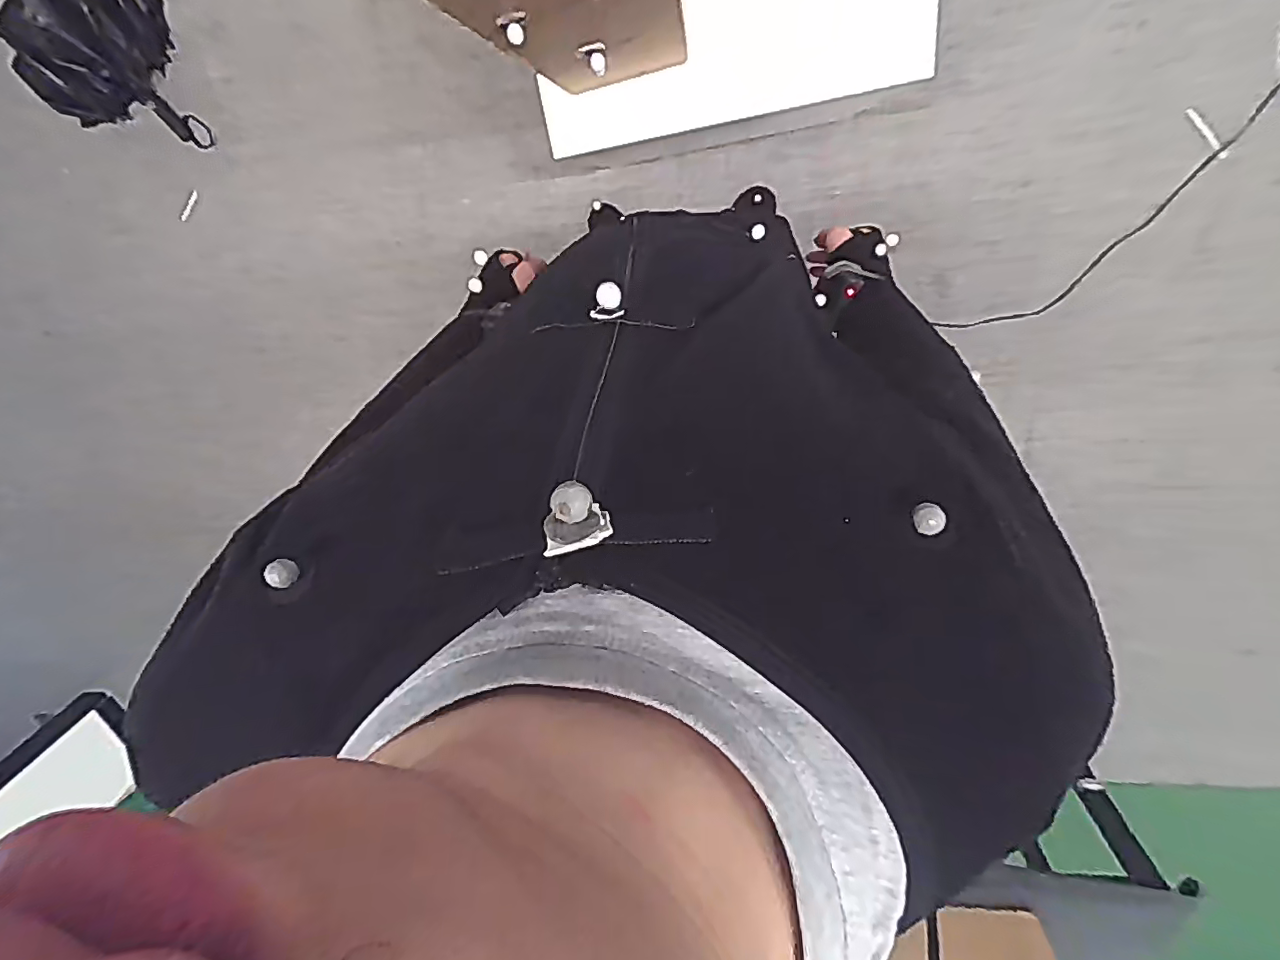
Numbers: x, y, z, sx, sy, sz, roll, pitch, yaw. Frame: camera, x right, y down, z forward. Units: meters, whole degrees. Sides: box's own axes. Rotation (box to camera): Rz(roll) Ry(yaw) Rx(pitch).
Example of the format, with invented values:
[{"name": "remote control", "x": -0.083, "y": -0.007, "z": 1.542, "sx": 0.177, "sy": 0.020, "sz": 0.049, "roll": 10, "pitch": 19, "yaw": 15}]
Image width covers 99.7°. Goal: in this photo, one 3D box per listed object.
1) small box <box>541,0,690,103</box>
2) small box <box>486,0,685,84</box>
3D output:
[{"name": "small box", "x": -0.037, "y": -0.564, "z": 0.619, "sx": 0.168, "sy": 0.176, "sz": 0.179, "roll": -8, "pitch": 117, "yaw": 11}, {"name": "small box", "x": -0.058, "y": -0.487, "z": 0.476, "sx": 0.168, "sy": 0.176, "sz": 0.179, "roll": -9, "pitch": 117, "yaw": 13}]
